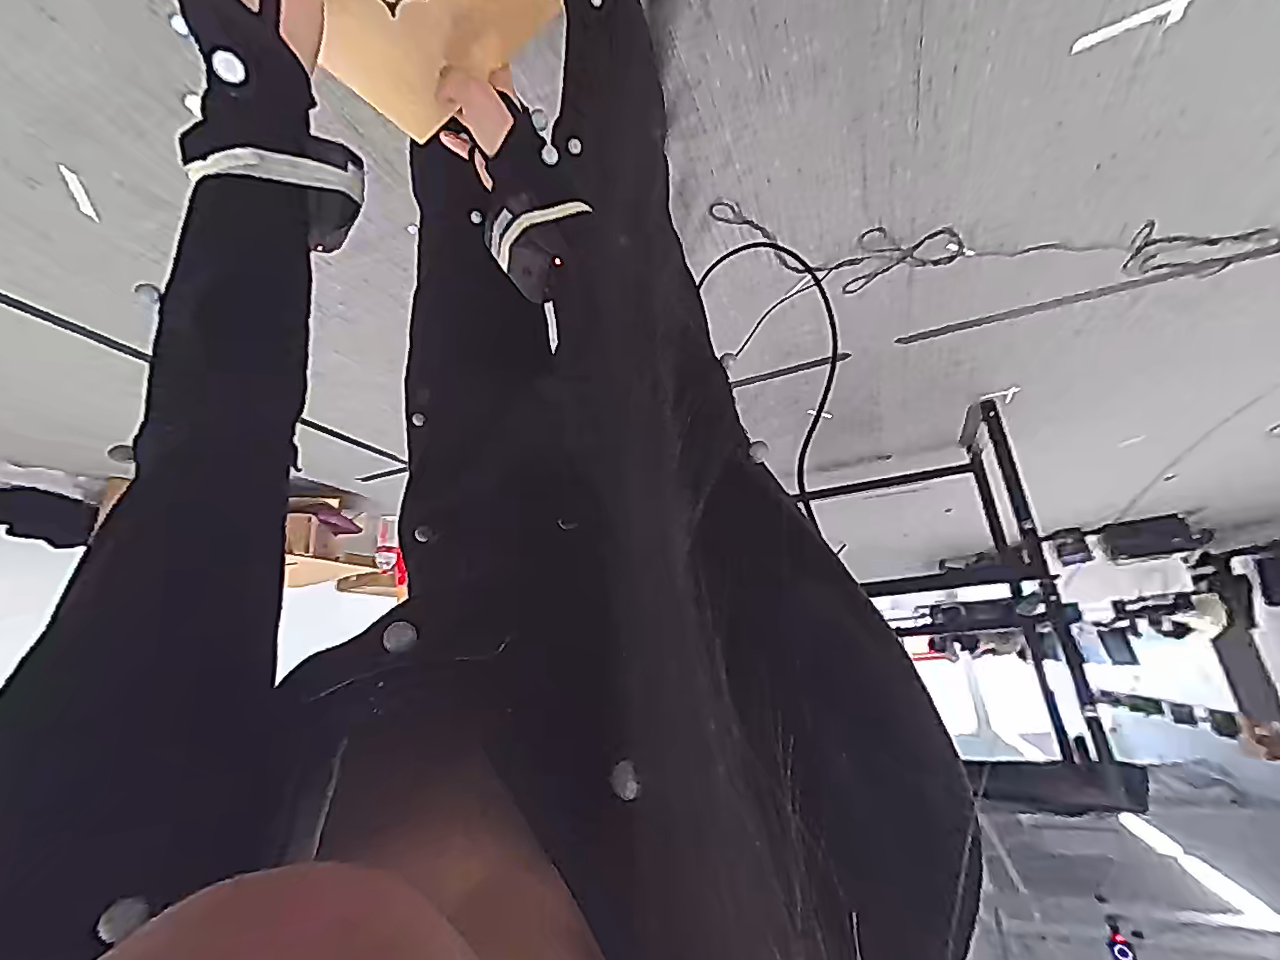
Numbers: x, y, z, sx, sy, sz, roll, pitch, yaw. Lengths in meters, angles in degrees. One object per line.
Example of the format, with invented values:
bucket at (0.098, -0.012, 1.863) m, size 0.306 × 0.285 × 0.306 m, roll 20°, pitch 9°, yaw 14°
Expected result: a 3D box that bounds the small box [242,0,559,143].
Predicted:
small box at (-0.180, -0.415, 0.402) m, size 0.179 × 0.176 × 0.168 m, roll -19°, pitch 157°, yaw 29°
